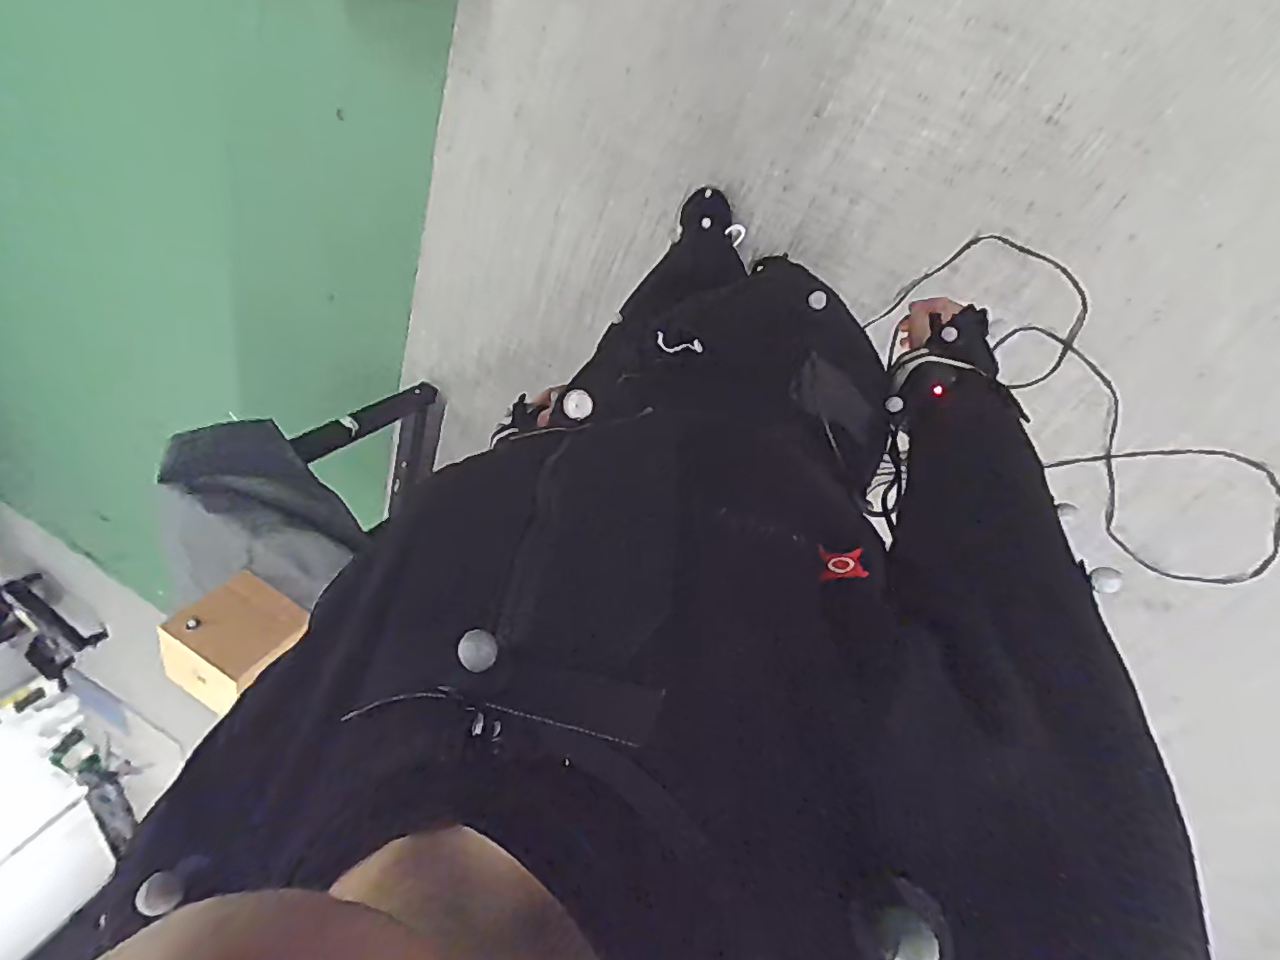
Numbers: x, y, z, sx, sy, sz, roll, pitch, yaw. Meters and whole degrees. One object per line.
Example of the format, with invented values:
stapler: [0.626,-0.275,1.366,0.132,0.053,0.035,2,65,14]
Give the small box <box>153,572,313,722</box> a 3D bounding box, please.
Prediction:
small box: [-0.753,0.307,1.019,0.179,0.176,0.168,32,125,5]
